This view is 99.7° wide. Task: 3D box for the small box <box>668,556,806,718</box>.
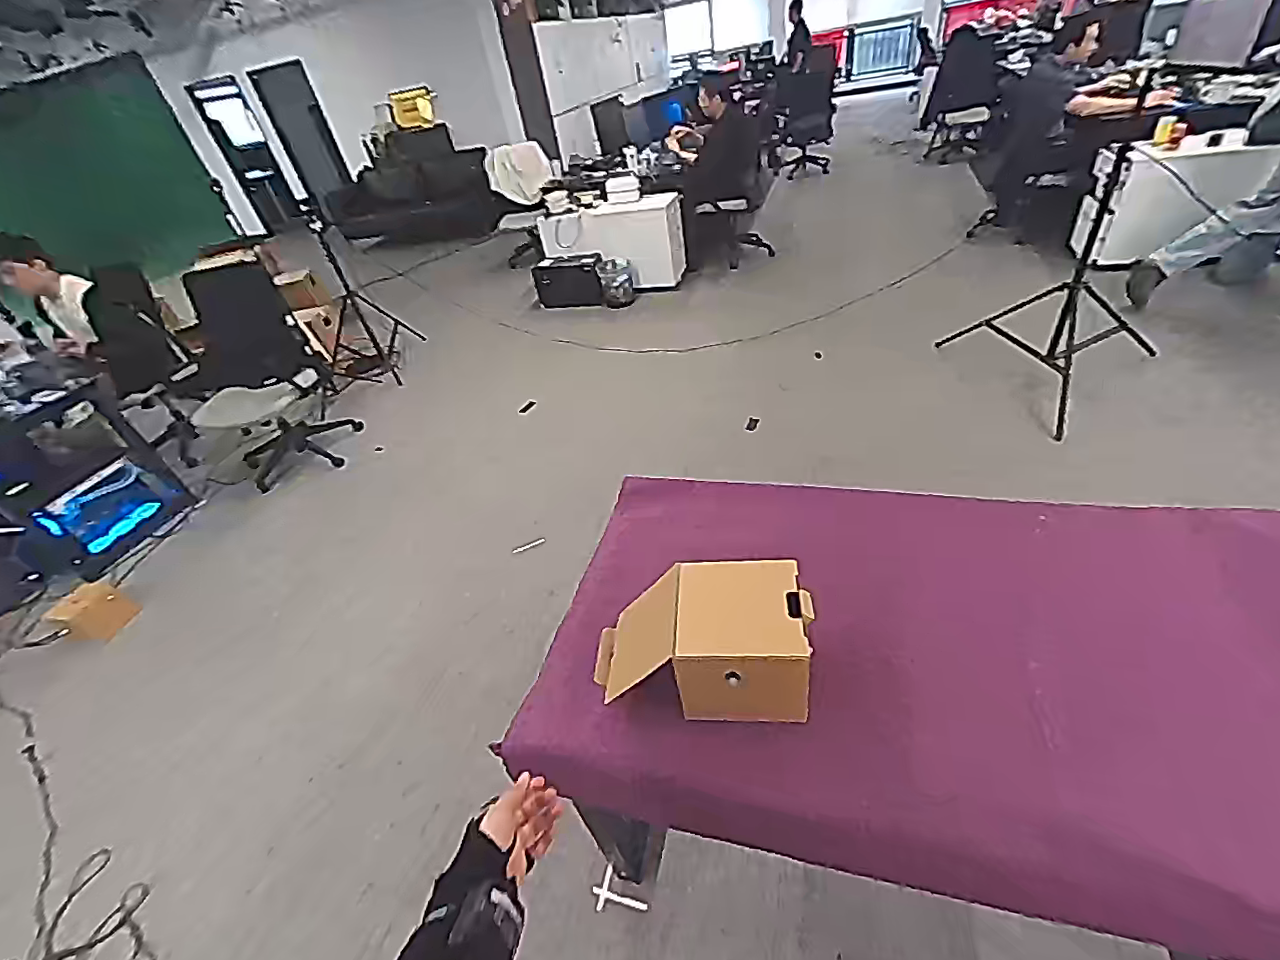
[{"bbox_3d":[0.143,0.229,0.789,0.179,0.176,0.168,-3,40,11],"label":"small box"}]
